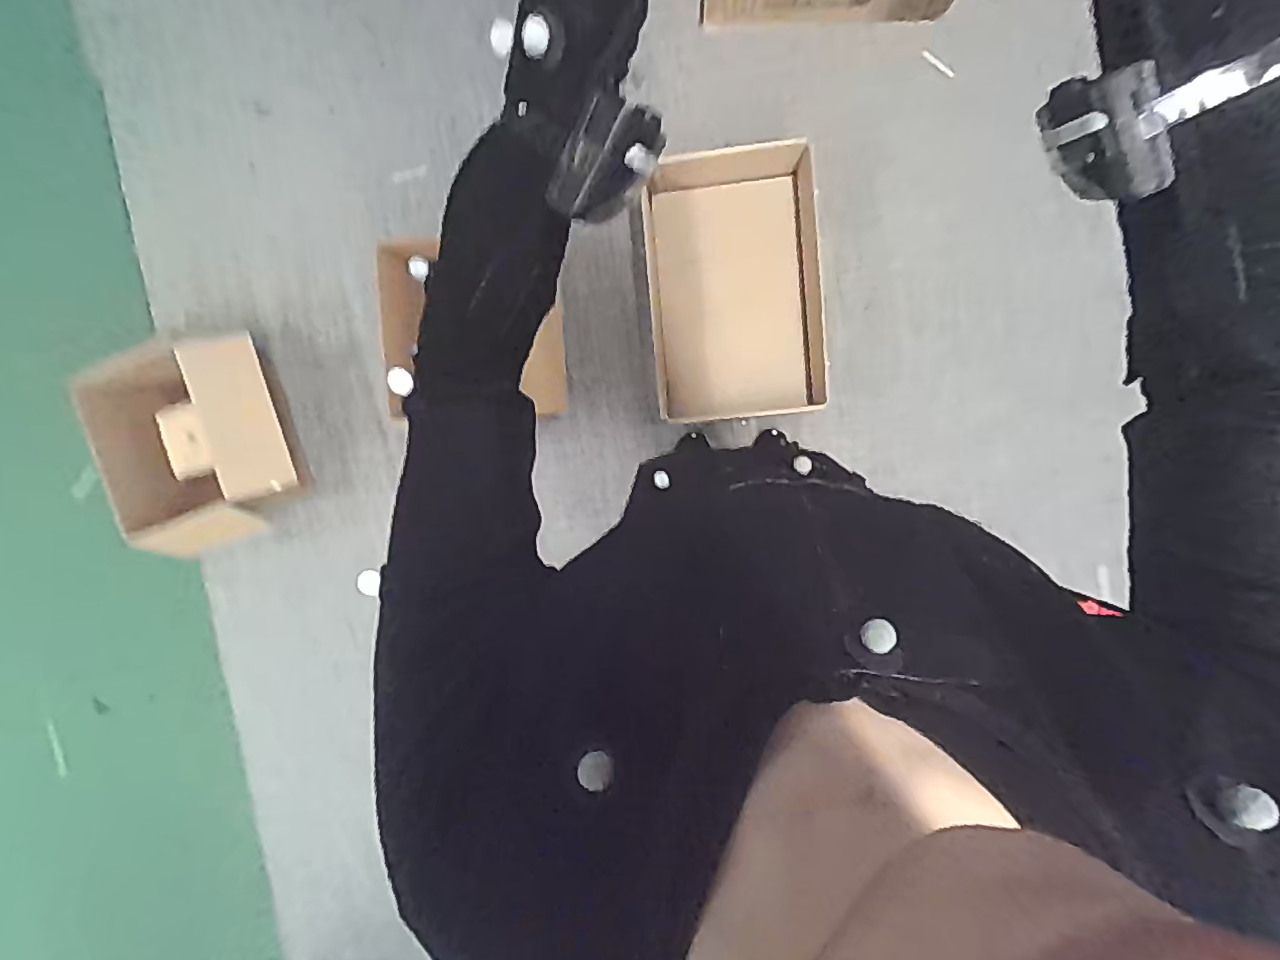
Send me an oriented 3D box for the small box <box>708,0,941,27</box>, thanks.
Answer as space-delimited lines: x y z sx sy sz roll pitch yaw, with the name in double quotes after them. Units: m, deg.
0.119 -0.394 0.287 0.168 0.176 0.179 2 98 6 "small box"
